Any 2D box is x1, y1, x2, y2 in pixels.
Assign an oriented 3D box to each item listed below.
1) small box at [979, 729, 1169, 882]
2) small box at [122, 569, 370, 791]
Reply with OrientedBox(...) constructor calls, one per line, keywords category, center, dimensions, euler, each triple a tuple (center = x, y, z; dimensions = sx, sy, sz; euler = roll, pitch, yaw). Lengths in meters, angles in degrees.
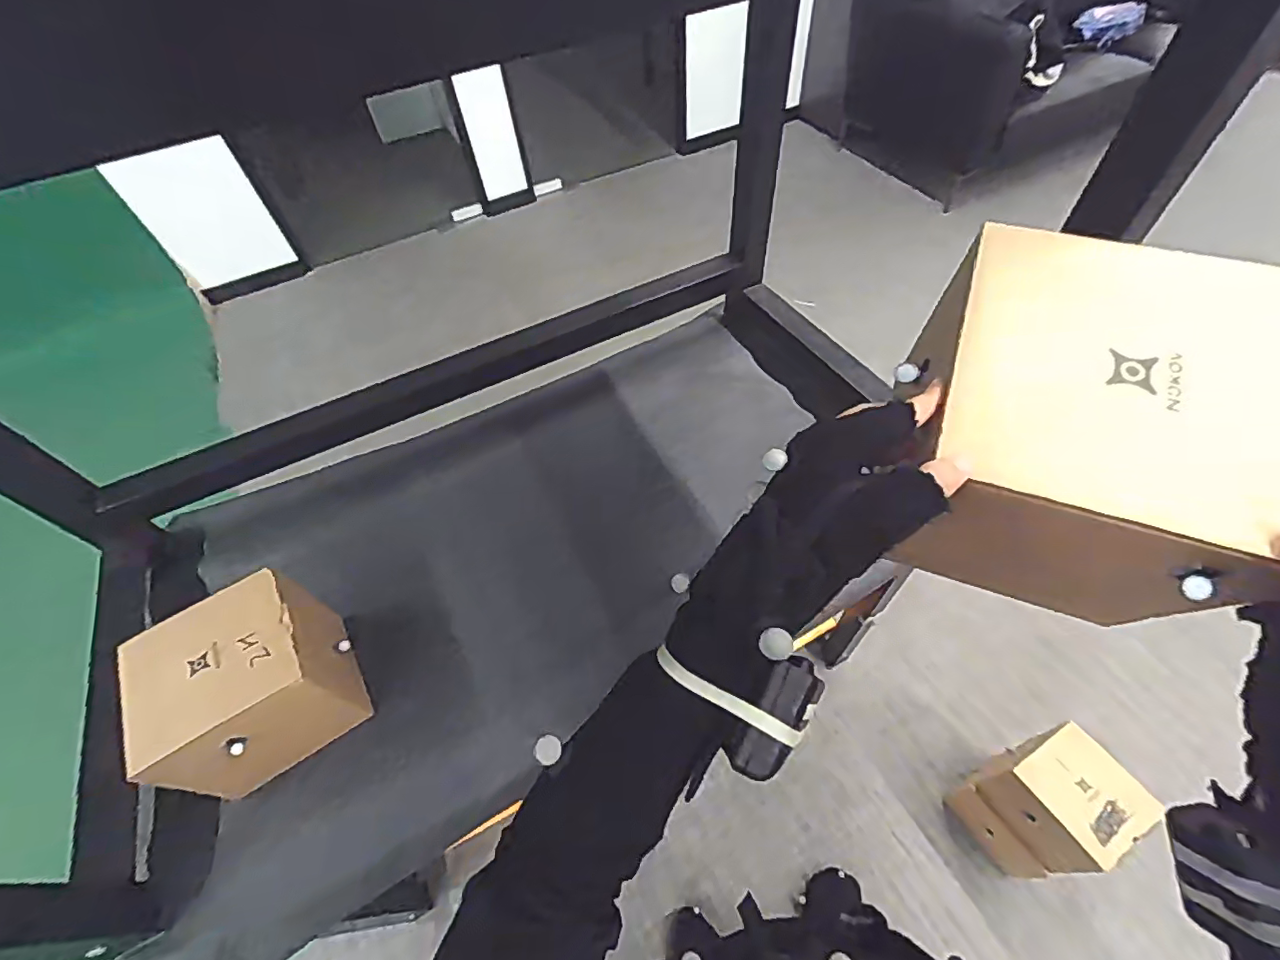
OrientedBox(category="small box", center=(0.778, 0.596, 0.992), dimensions=(0.168, 0.176, 0.179), euler=(-27, 55, -14))
OrientedBox(category="small box", center=(-0.470, 0.248, 0.661), dimensions=(0.179, 0.176, 0.168), euler=(-29, 57, -16))
